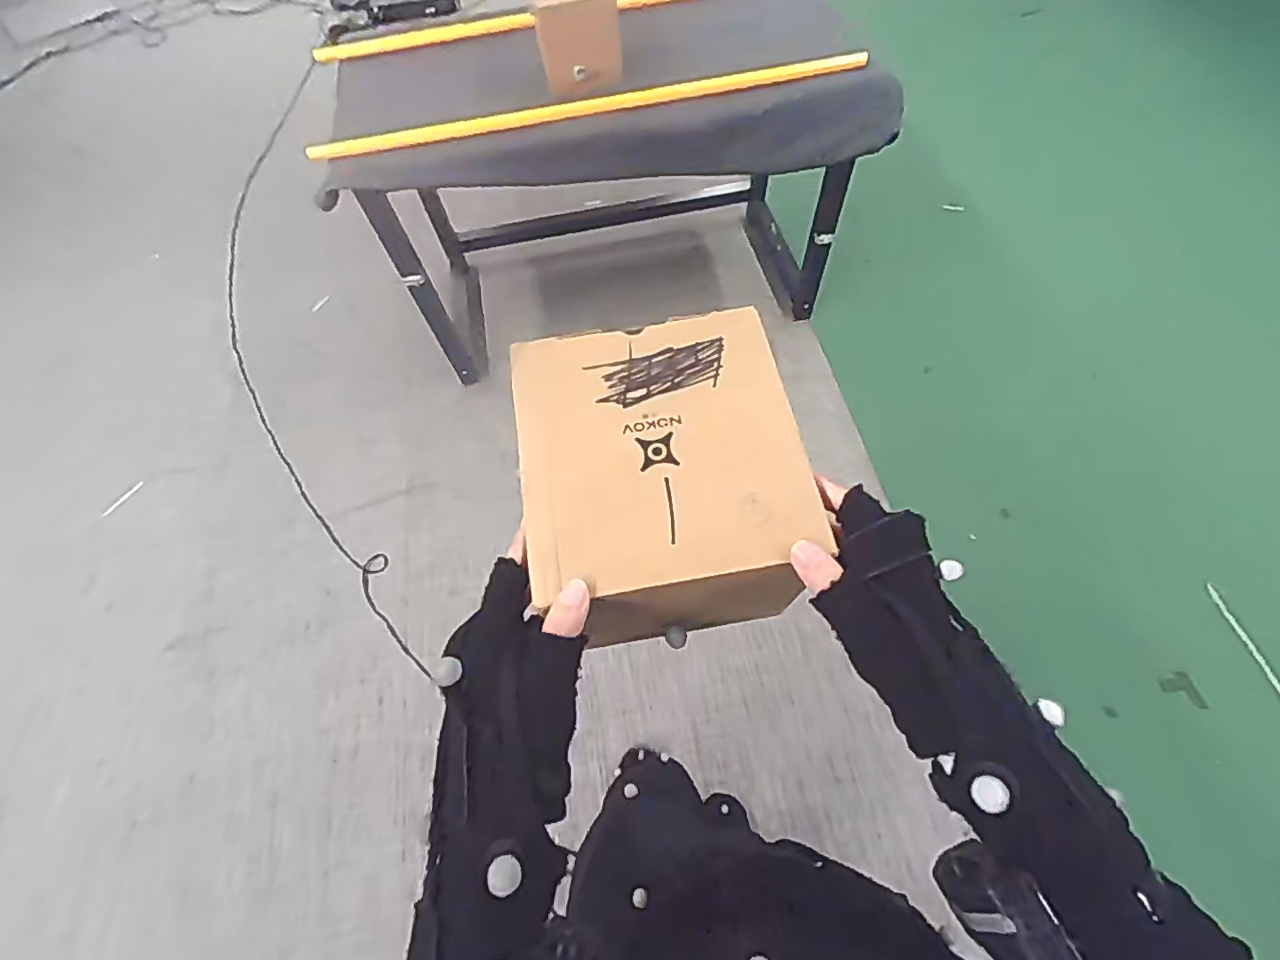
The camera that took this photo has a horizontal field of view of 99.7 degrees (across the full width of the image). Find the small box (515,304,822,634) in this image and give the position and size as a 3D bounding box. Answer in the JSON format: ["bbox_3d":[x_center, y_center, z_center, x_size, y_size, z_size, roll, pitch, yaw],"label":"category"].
[{"bbox_3d":[0.011,0.003,0.401,0.168,0.176,0.179,-9,66,-1],"label":"small box"}]

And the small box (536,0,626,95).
[{"bbox_3d":[-0.131,-0.987,1.183,0.168,0.176,0.179,-14,63,-2],"label":"small box"}]
